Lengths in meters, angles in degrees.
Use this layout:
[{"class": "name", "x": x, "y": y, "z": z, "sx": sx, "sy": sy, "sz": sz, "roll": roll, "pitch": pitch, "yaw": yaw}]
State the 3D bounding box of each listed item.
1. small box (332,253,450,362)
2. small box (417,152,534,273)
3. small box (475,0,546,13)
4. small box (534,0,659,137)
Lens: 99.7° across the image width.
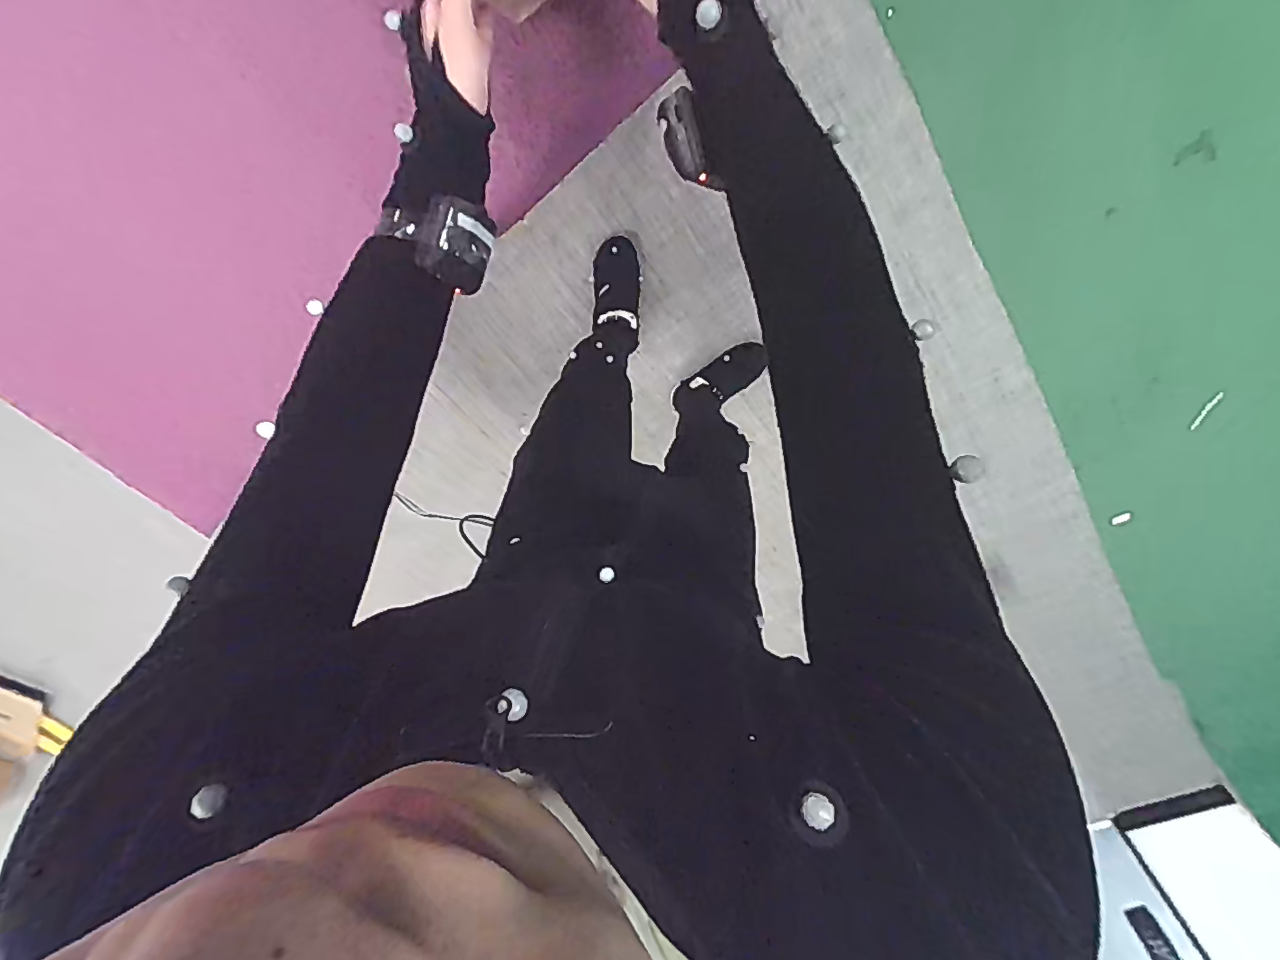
[{"class": "small box", "x": -0.598, "y": -0.428, "z": 1.323, "sx": 0.179, "sy": 0.176, "sz": 0.168, "roll": 39, "pitch": 115, "yaw": -19}, {"class": "small box", "x": -0.356, "y": -0.601, "z": 1.210, "sx": 0.168, "sy": 0.176, "sz": 0.179, "roll": 41, "pitch": 115, "yaw": -19}, {"class": "small box", "x": -0.098, "y": -0.502, "z": 0.409, "sx": 0.168, "sy": 0.176, "sz": 0.179, "roll": -25, "pitch": 117, "yaw": 18}, {"class": "small box", "x": -0.080, "y": -0.811, "z": 1.070, "sx": 0.179, "sy": 0.176, "sz": 0.168, "roll": 41, "pitch": 114, "yaw": -20}]
